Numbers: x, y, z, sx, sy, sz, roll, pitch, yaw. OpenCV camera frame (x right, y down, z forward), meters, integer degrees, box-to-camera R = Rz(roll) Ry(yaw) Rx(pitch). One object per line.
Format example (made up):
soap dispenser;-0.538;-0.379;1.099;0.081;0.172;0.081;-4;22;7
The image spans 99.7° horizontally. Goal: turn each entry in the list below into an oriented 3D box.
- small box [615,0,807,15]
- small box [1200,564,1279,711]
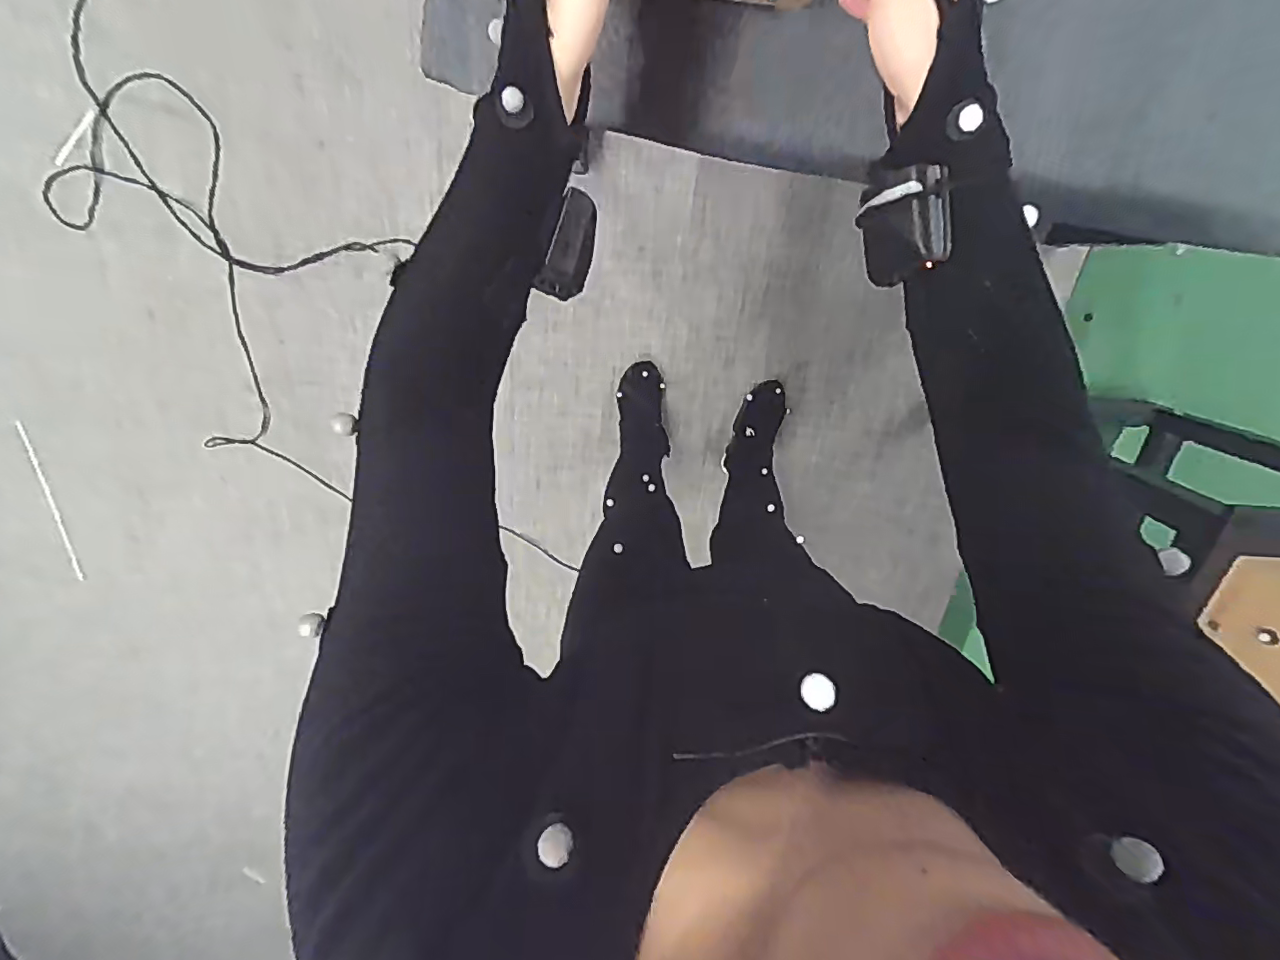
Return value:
small box;0.060;-0.434;0.354;0.179;0.176;0.168;3;119;-2
small box;0.901;0.221;0.690;0.179;0.176;0.168;4;114;-4
